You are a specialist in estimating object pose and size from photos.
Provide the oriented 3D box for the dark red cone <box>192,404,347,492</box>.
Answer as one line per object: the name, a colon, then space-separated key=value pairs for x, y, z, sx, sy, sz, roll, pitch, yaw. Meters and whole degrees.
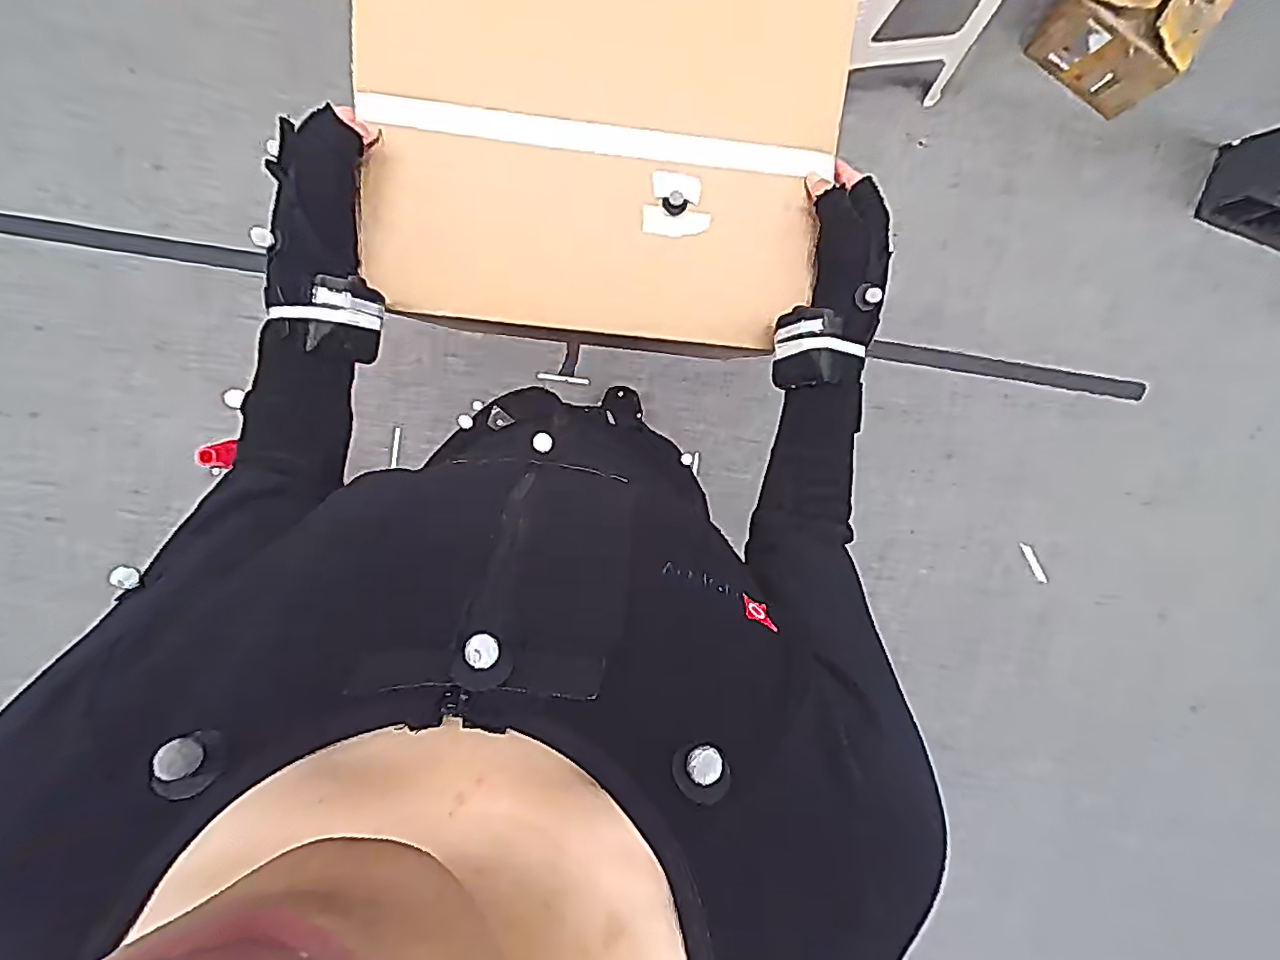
dark red cone: x=-0.858 y=-0.068 z=1.231 sx=0.201 sy=0.394 sz=0.202 roll=14 pitch=95 yaw=-5

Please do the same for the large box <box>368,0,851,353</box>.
large box: x=-0.040 y=-0.322 z=0.610 sx=0.408 sy=0.320 sz=0.320 roll=5 pitch=101 yaw=-5
